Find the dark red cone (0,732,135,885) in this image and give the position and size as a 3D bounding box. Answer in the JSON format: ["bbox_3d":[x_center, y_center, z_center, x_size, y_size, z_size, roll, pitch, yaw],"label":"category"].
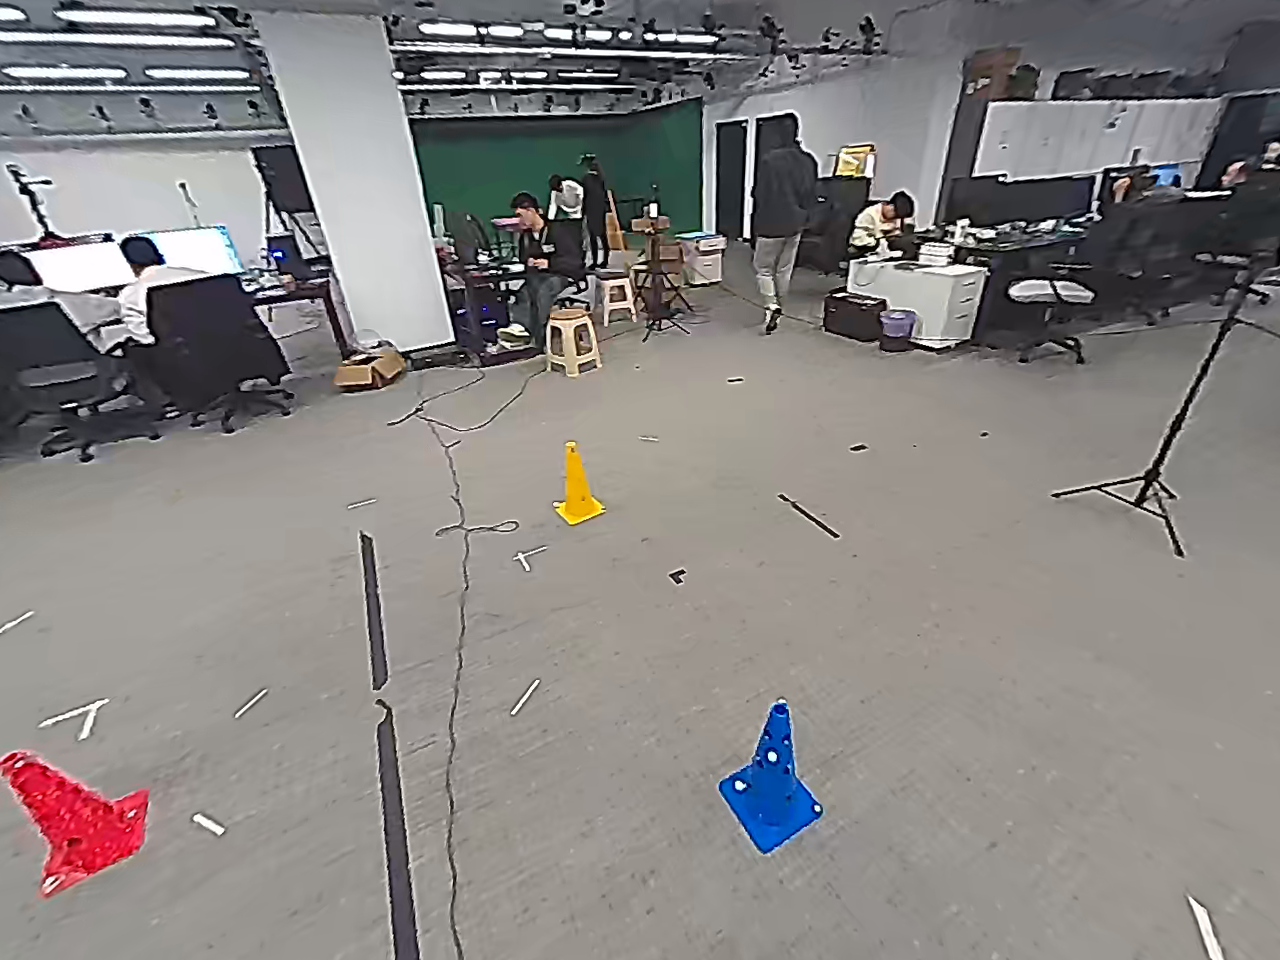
[{"bbox_3d":[-1.427,0.750,1.299,0.201,0.394,0.202,-21,34,-28],"label":"dark red cone"}]

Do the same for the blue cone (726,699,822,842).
[{"bbox_3d":[0.331,0.667,1.302,0.192,0.380,0.193,-16,32,-22],"label":"blue cone"}]
